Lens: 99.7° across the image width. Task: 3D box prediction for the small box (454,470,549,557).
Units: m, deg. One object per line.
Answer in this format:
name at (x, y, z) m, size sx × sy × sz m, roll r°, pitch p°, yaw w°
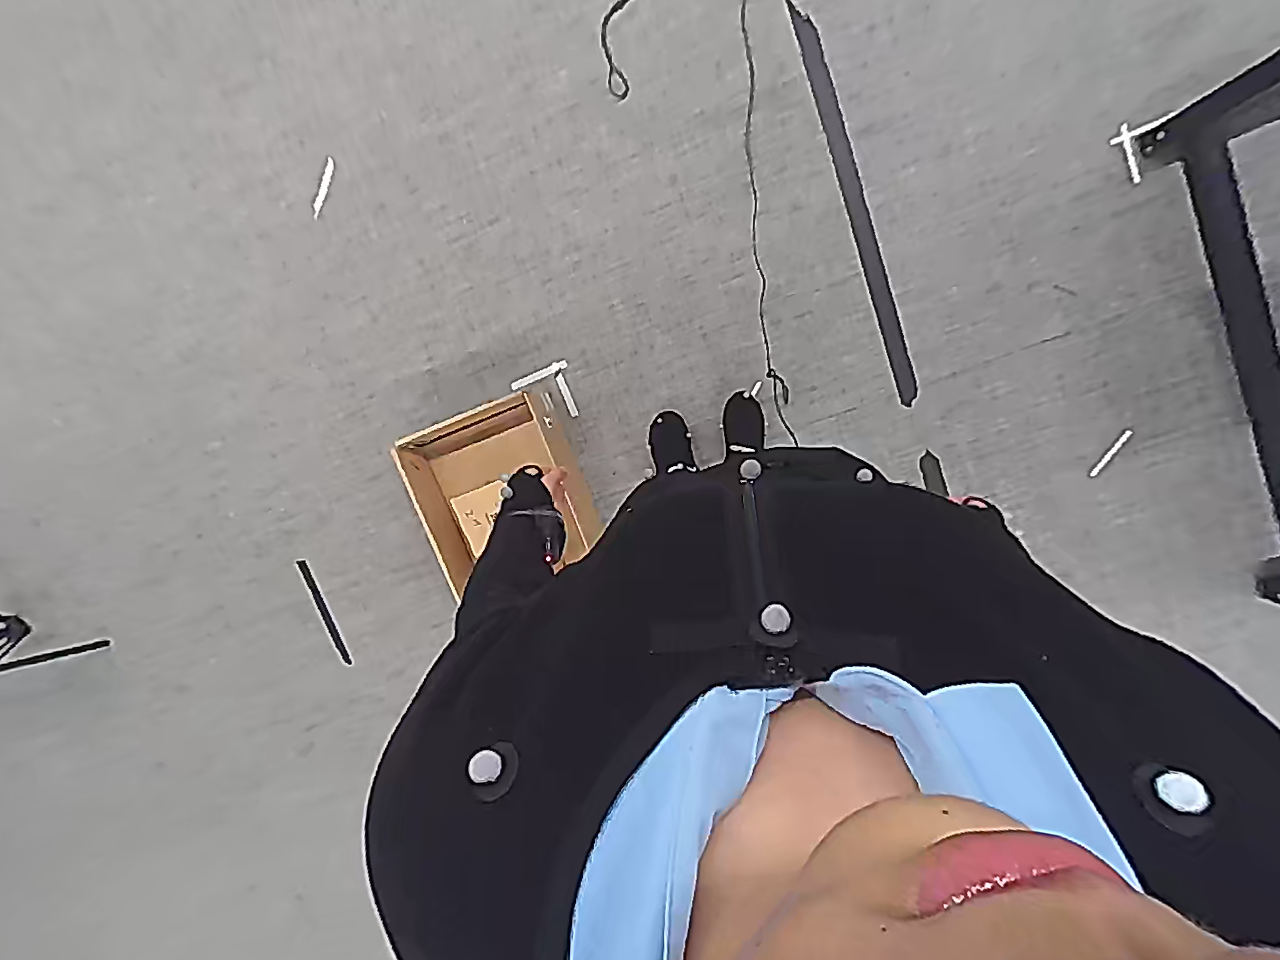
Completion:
small box at (-0.357, 0.082, 1.446) m, size 0.179 × 0.176 × 0.168 m, roll -21°, pitch 96°, yaw 9°
